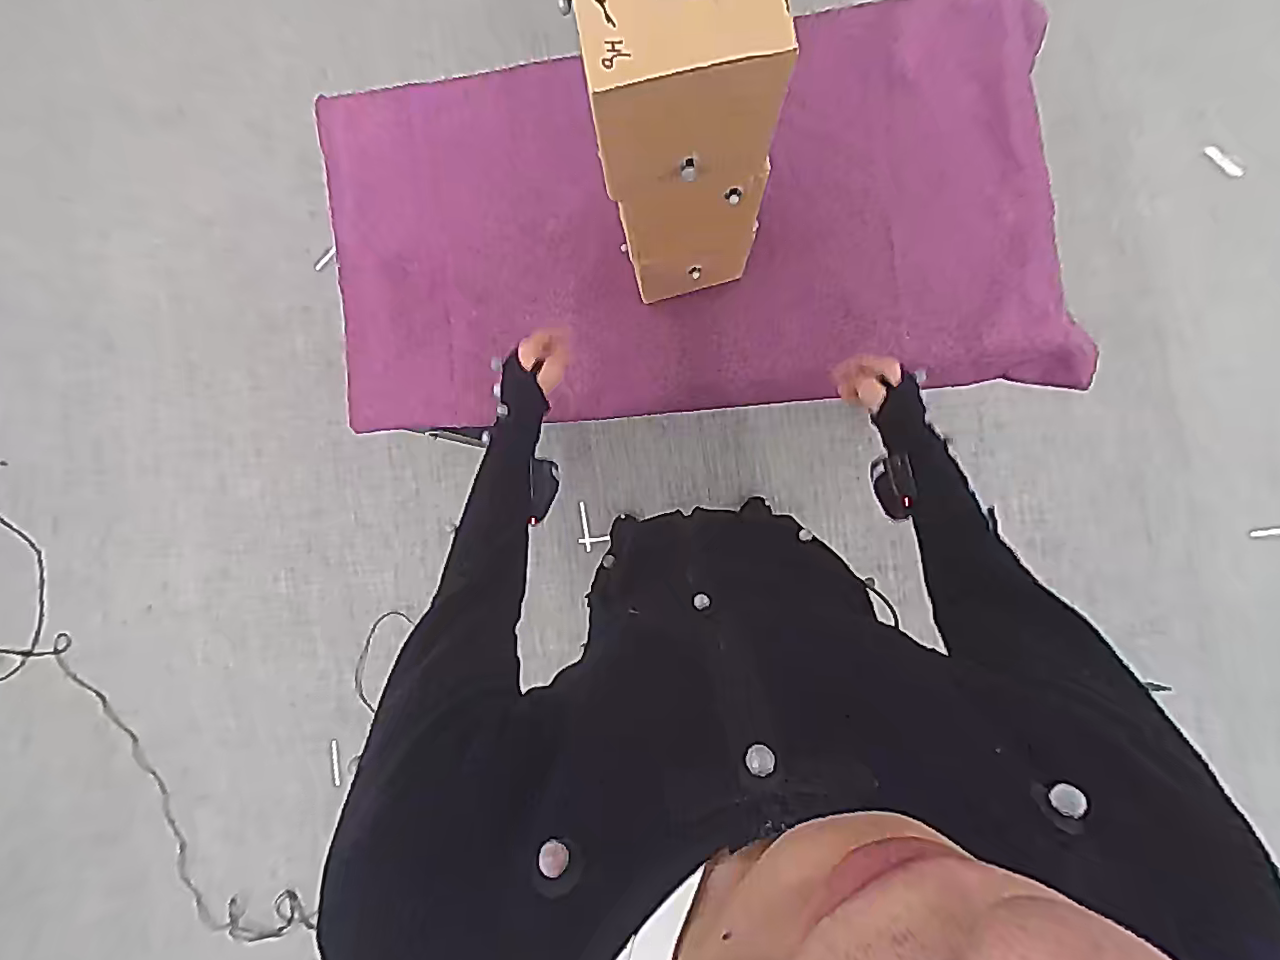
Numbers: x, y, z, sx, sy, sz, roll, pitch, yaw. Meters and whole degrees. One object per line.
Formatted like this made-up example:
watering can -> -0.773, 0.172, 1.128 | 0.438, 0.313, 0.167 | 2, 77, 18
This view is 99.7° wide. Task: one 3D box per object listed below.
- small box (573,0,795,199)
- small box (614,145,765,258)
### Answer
small box -> 0.032, -0.408, 0.528 | 0.179, 0.176, 0.168 | -10, 87, 1
small box -> 0.048, -0.406, 0.692 | 0.179, 0.176, 0.168 | -10, 88, 2
